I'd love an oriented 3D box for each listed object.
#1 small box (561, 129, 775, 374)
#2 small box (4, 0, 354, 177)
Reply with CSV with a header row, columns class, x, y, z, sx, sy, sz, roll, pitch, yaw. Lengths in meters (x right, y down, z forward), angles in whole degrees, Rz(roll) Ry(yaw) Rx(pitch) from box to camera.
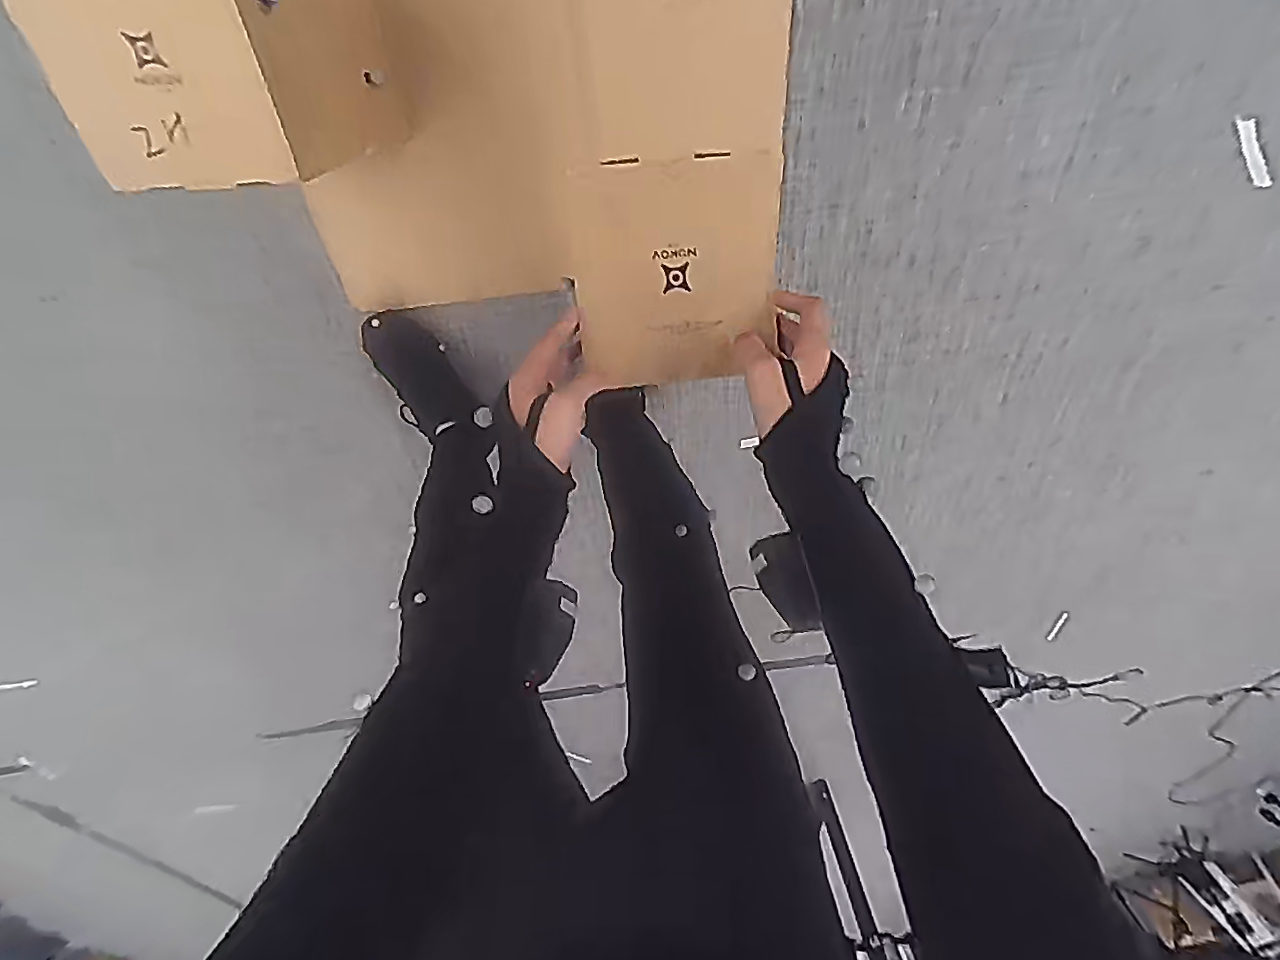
class,x,y,z,sx,sy,sz,roll,pitch,yaw
small box,0.019,-0.195,0.509,0.168,0.176,0.179,-6,102,-3
small box,-0.385,-0.381,0.475,0.168,0.176,0.179,-4,129,-3
